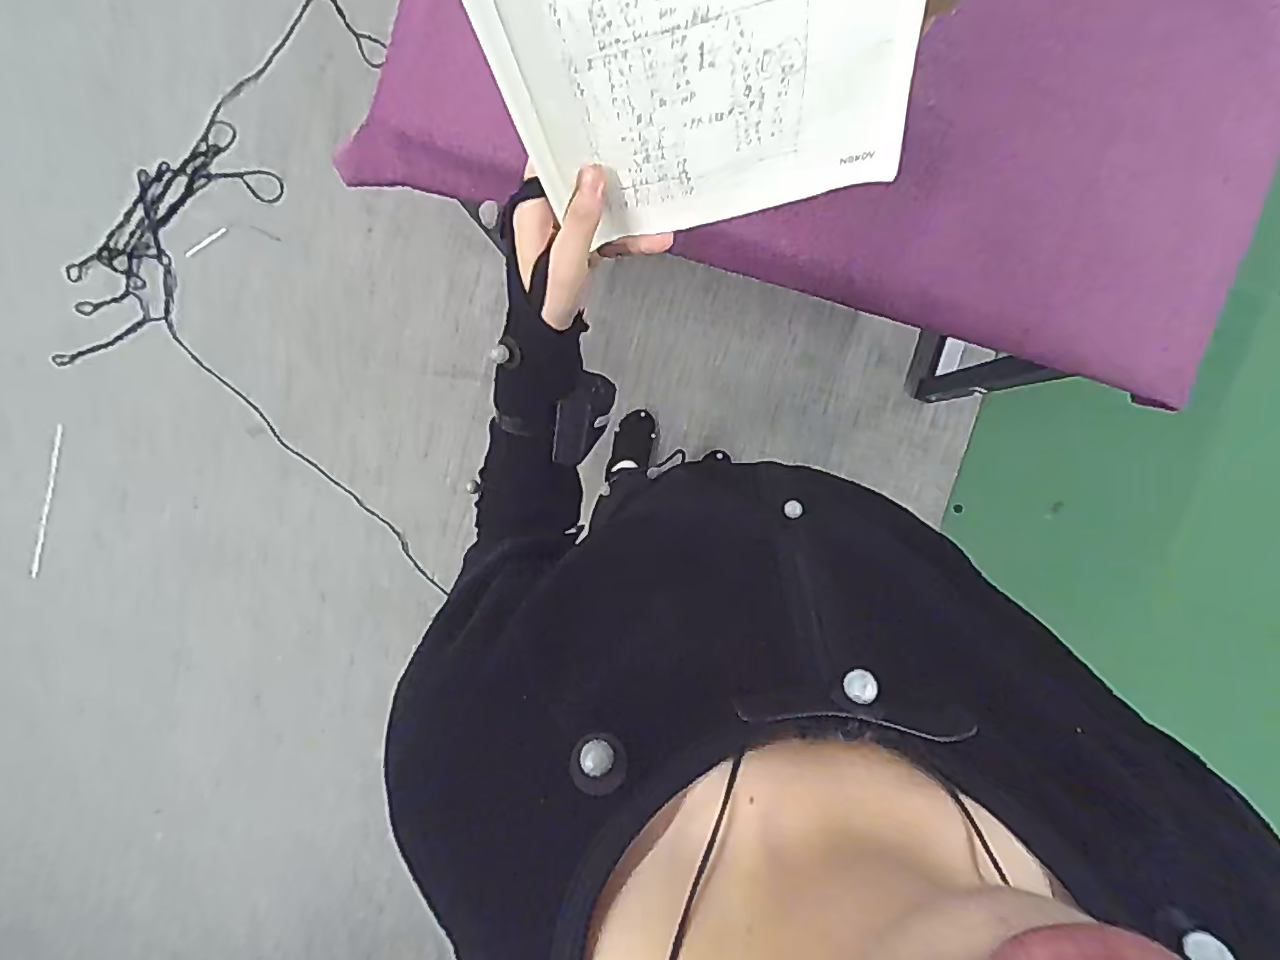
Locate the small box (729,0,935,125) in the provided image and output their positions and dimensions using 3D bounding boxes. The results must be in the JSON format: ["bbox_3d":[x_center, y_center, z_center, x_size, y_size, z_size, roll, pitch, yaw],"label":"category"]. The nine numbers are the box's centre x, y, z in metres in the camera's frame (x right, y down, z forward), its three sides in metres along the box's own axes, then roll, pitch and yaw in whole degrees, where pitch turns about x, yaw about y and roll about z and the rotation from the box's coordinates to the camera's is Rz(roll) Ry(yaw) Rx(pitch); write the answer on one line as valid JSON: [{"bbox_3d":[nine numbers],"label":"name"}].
[{"bbox_3d":[0.188,-0.483,0.509,0.168,0.176,0.179,18,92,2],"label":"small box"}]
